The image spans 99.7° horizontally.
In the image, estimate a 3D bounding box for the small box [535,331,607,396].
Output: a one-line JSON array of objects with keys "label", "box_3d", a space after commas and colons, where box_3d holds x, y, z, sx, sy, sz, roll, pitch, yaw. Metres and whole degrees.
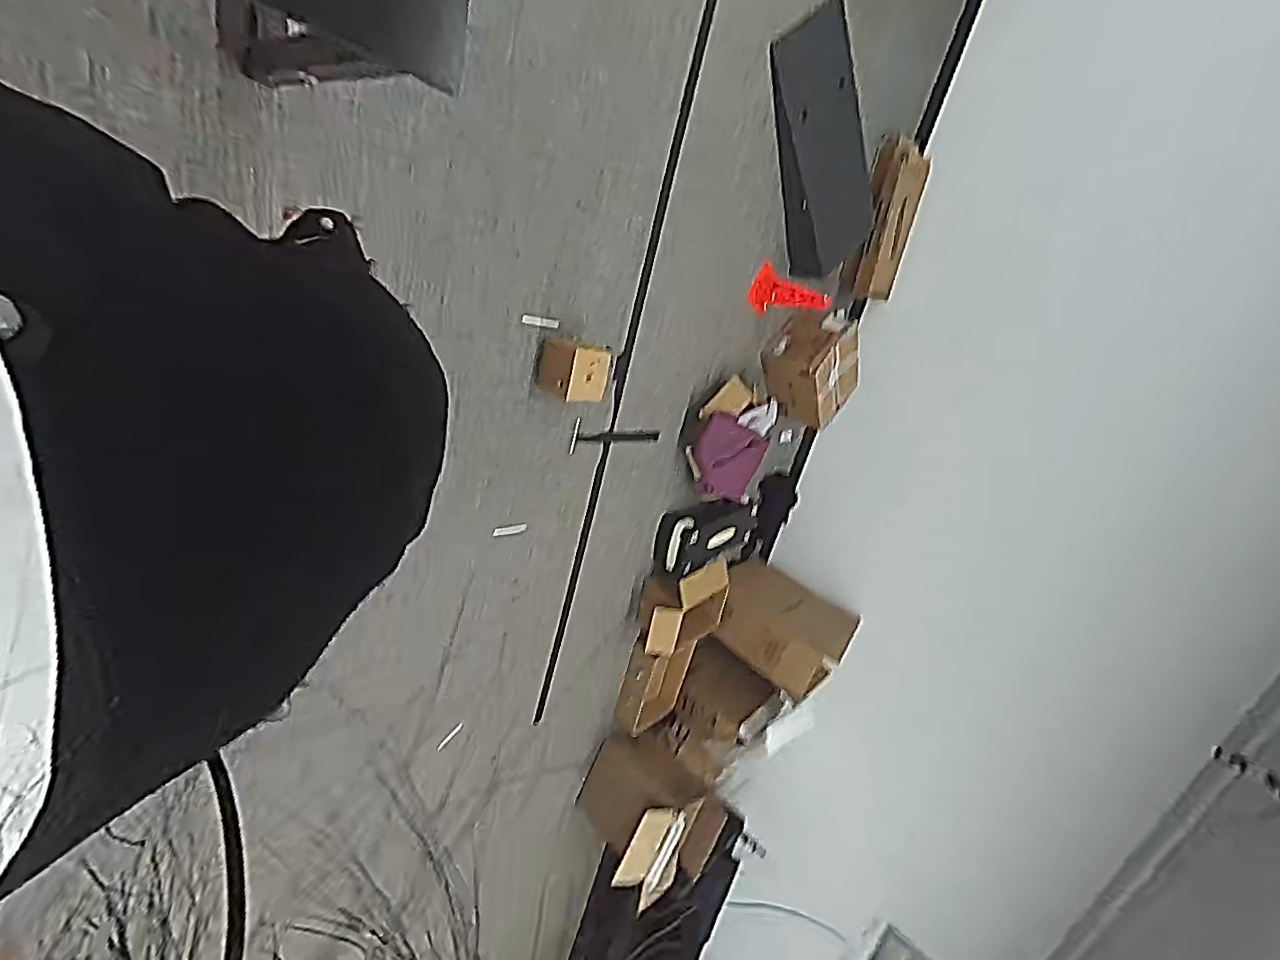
[{"label": "small box", "box_3d": [-0.244, -0.403, 1.875, 0.168, 0.176, 0.179, -10, 121, -48]}]
